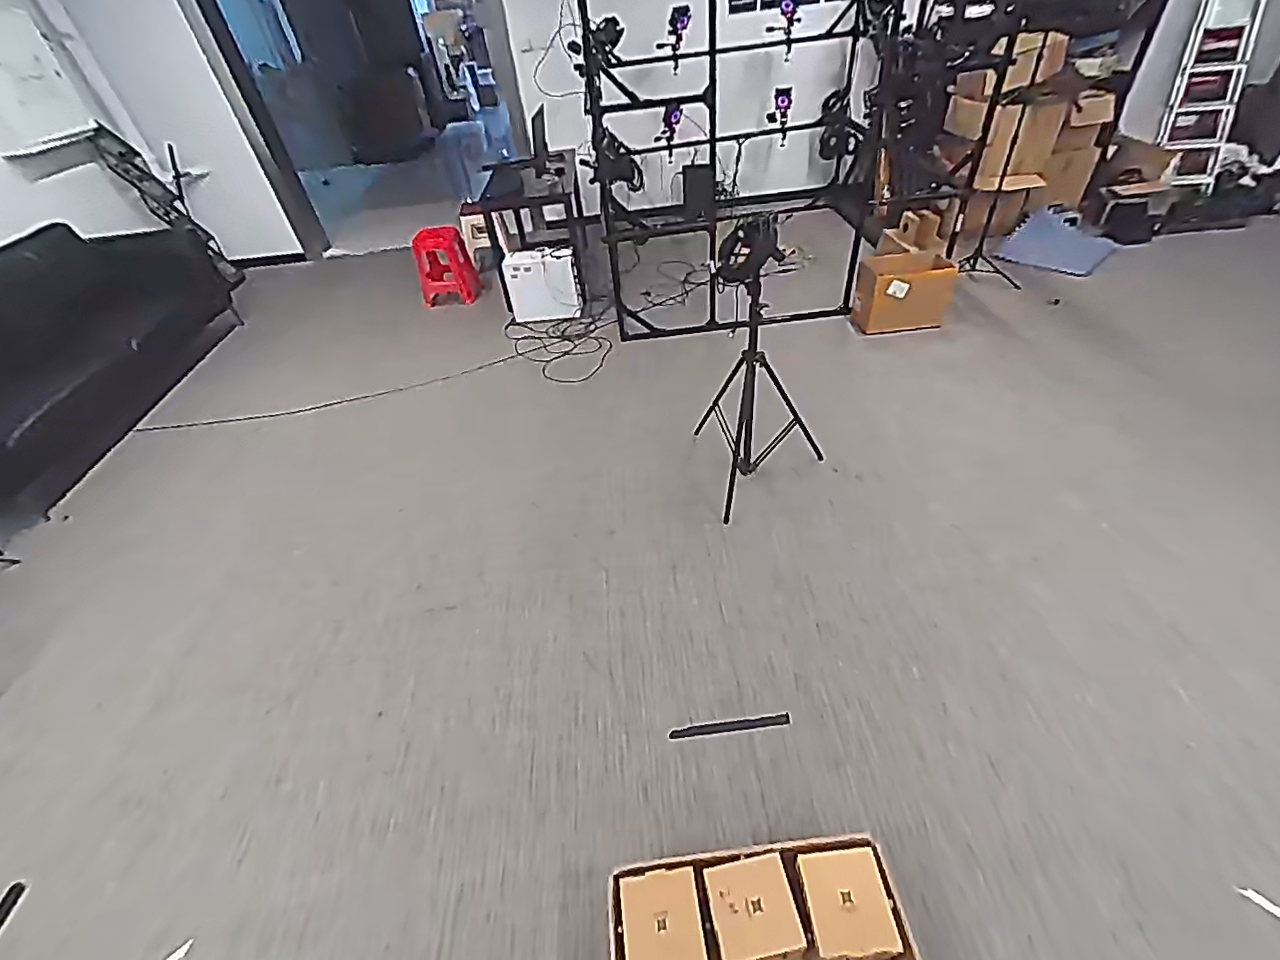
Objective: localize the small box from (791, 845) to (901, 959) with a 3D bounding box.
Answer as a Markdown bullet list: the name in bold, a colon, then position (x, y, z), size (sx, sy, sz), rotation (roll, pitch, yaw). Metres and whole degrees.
- **small box**: position (0.437, 0.927, 1.180), size (0.168, 0.176, 0.179), rotation (-8, 45, 1)
